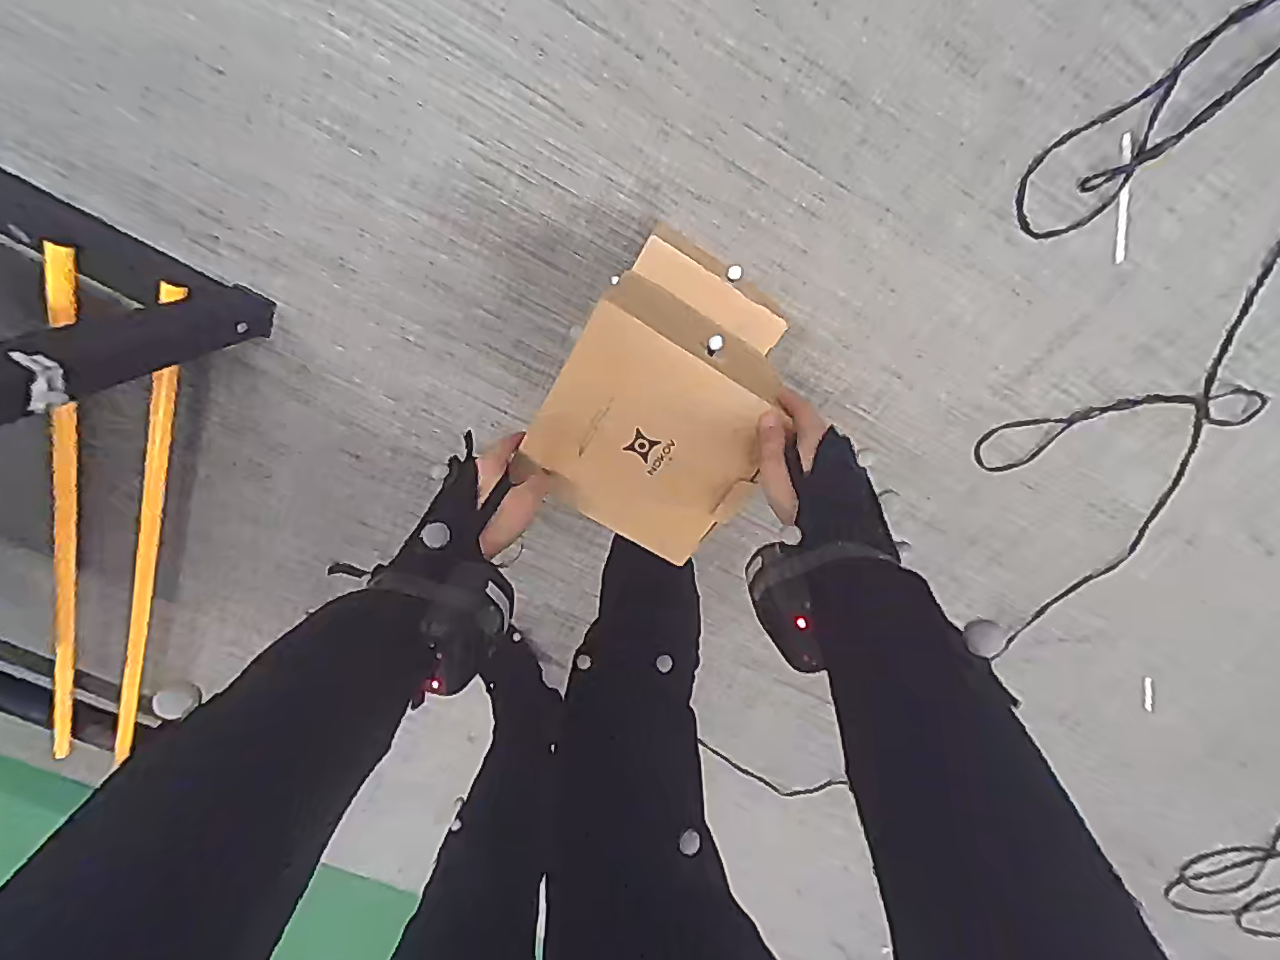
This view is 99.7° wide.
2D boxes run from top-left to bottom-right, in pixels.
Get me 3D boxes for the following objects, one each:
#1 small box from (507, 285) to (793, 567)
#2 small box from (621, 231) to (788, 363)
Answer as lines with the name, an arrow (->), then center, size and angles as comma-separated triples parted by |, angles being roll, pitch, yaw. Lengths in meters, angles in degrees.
small box -> 0.011, -0.060, 0.498 | 0.179, 0.176, 0.168 | 30, 116, -8
small box -> 0.051, -0.187, 0.667 | 0.179, 0.176, 0.168 | 29, 116, -11
